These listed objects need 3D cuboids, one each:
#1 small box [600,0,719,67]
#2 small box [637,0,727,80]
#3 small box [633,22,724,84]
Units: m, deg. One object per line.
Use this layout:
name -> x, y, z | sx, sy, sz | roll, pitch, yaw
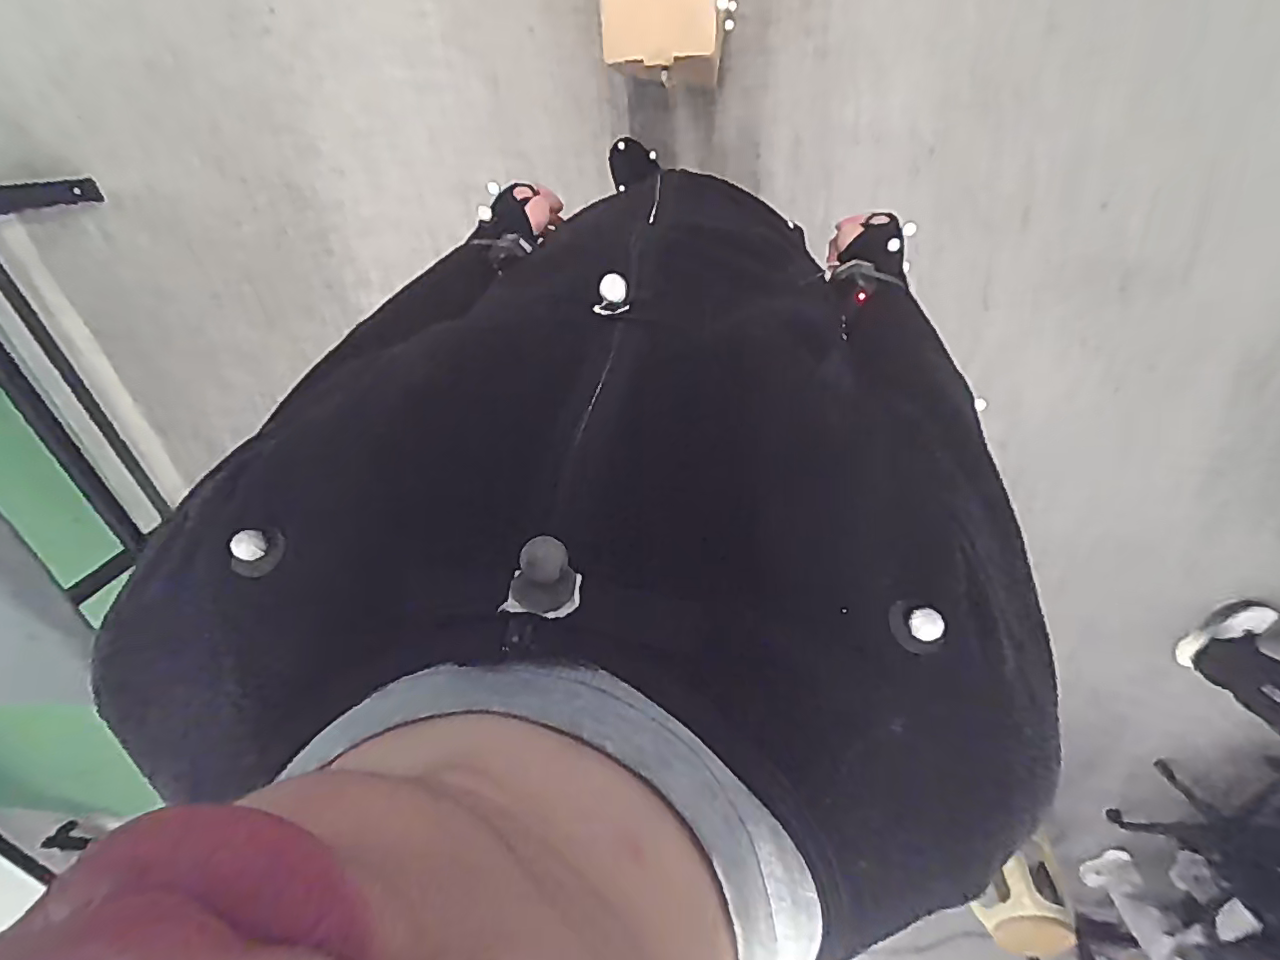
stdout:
small box -> 0.035, -0.734, 0.811 | 0.168, 0.176, 0.179 | 3, 123, 6
small box -> 0.064, -0.825, 0.944 | 0.168, 0.176, 0.179 | 11, 124, 2
small box -> 0.081, -0.914, 1.081 | 0.168, 0.176, 0.179 | 10, 124, 2
